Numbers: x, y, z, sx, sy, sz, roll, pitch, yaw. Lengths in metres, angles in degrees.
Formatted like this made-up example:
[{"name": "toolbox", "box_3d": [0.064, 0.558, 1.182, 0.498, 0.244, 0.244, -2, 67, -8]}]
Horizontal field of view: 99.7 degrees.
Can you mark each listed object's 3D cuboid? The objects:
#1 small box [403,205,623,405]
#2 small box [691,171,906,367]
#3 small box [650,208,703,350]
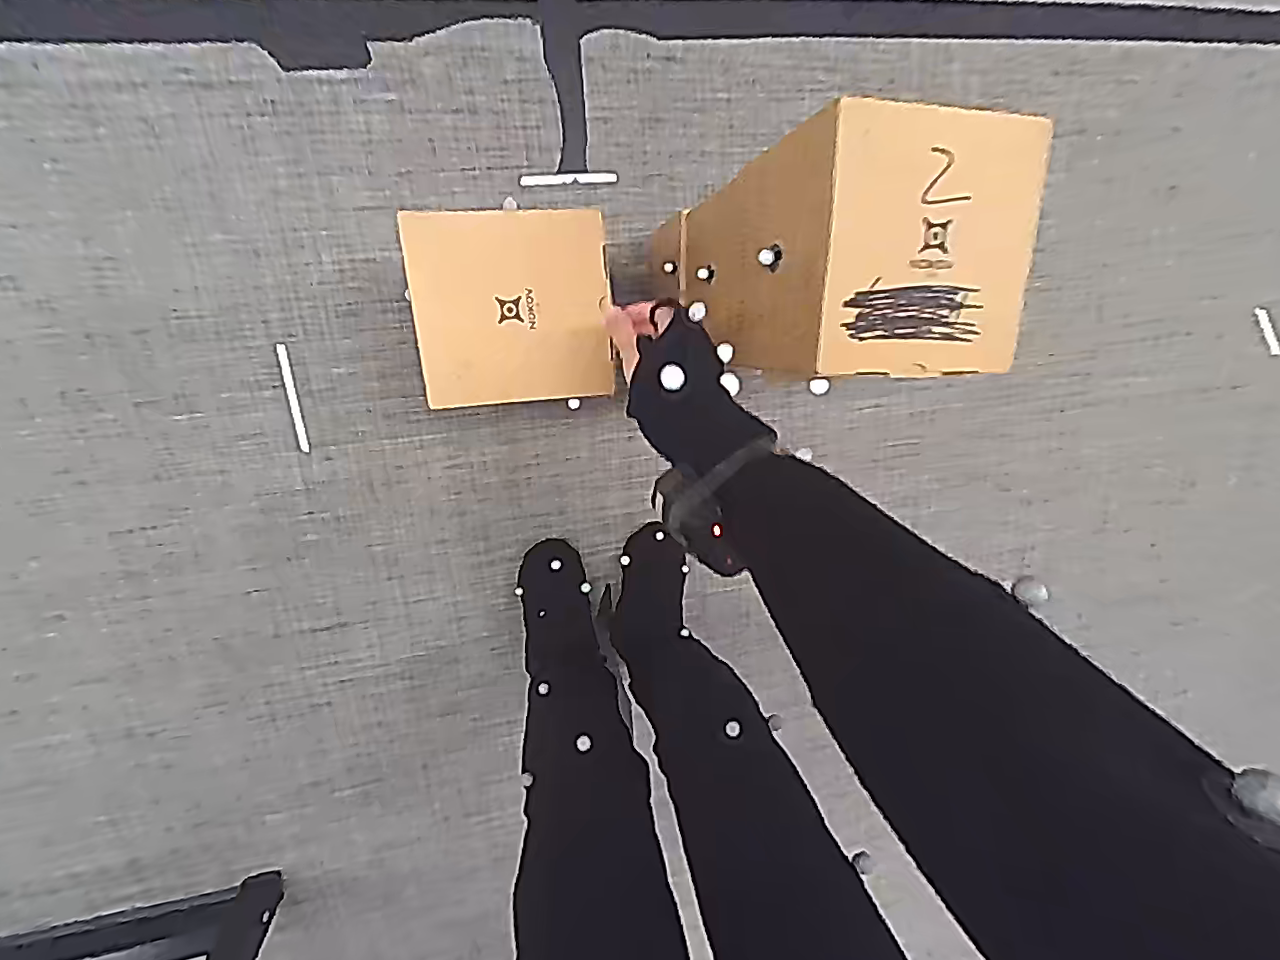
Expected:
[{"name": "small box", "box_3d": [-0.122, -0.173, 0.552, 0.179, 0.176, 0.168, -8, 107, -12]}, {"name": "small box", "box_3d": [0.160, -0.221, 0.601, 0.168, 0.176, 0.179, -4, 105, -12]}, {"name": "small box", "box_3d": [0.121, -0.269, 0.754, 0.179, 0.176, 0.168, -3, 106, -13]}]
